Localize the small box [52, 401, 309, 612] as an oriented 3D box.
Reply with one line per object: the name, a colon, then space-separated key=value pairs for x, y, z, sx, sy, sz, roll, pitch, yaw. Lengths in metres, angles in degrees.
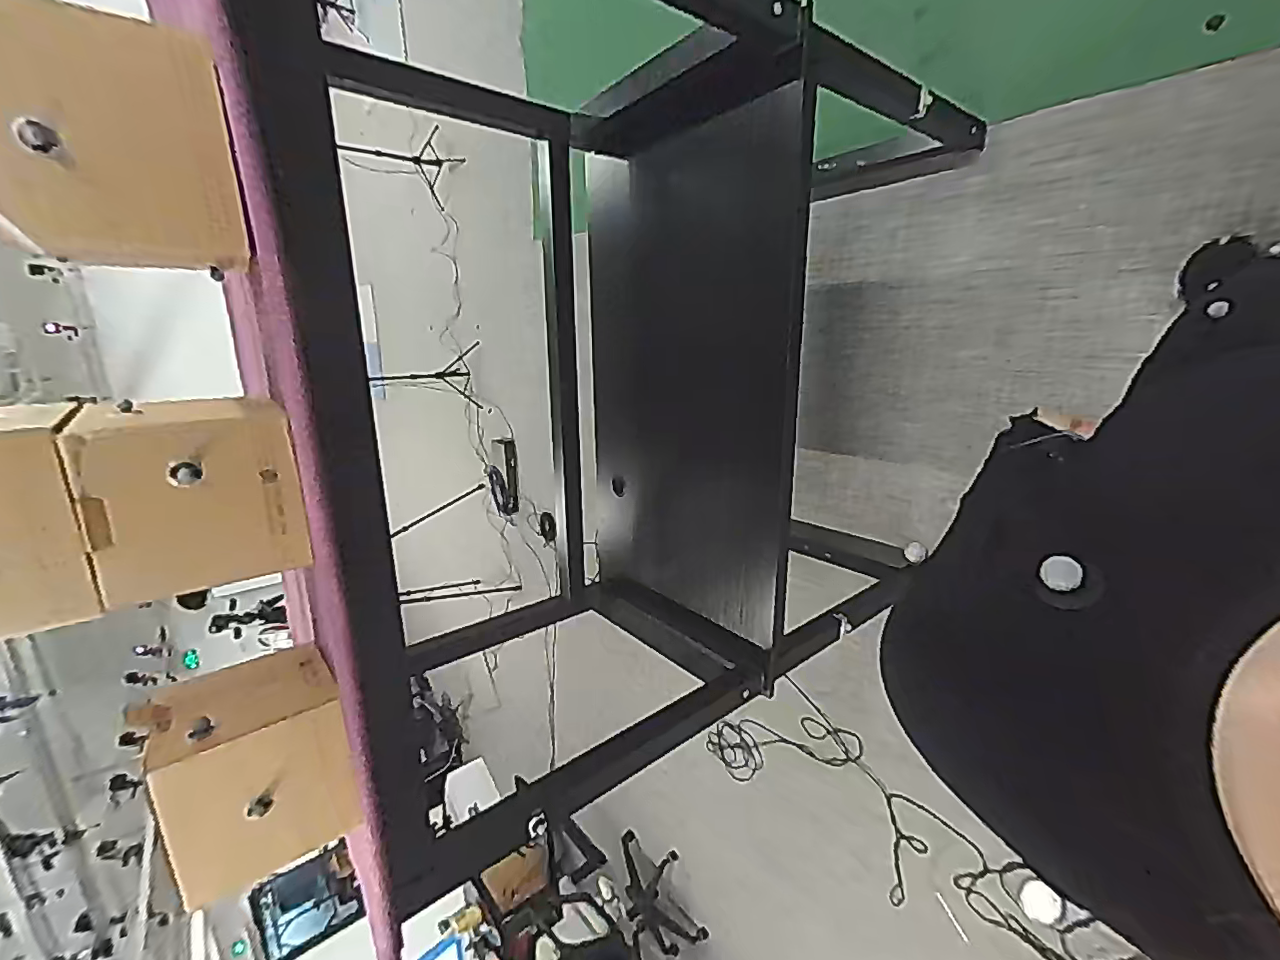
small box: x=-0.464 y=0.010 z=0.571 sx=0.179 sy=0.176 sz=0.168 roll=19 pitch=114 yaw=49

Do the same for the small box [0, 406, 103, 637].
small box: x=-0.593 y=0.038 z=0.472 sx=0.168 sy=0.176 sz=0.179 roll=19 pitch=114 yaw=47

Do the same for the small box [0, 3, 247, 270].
small box: x=-0.478 y=-0.293 z=0.497 sx=0.168 sy=0.176 sz=0.179 roll=17 pitch=113 yaw=51
